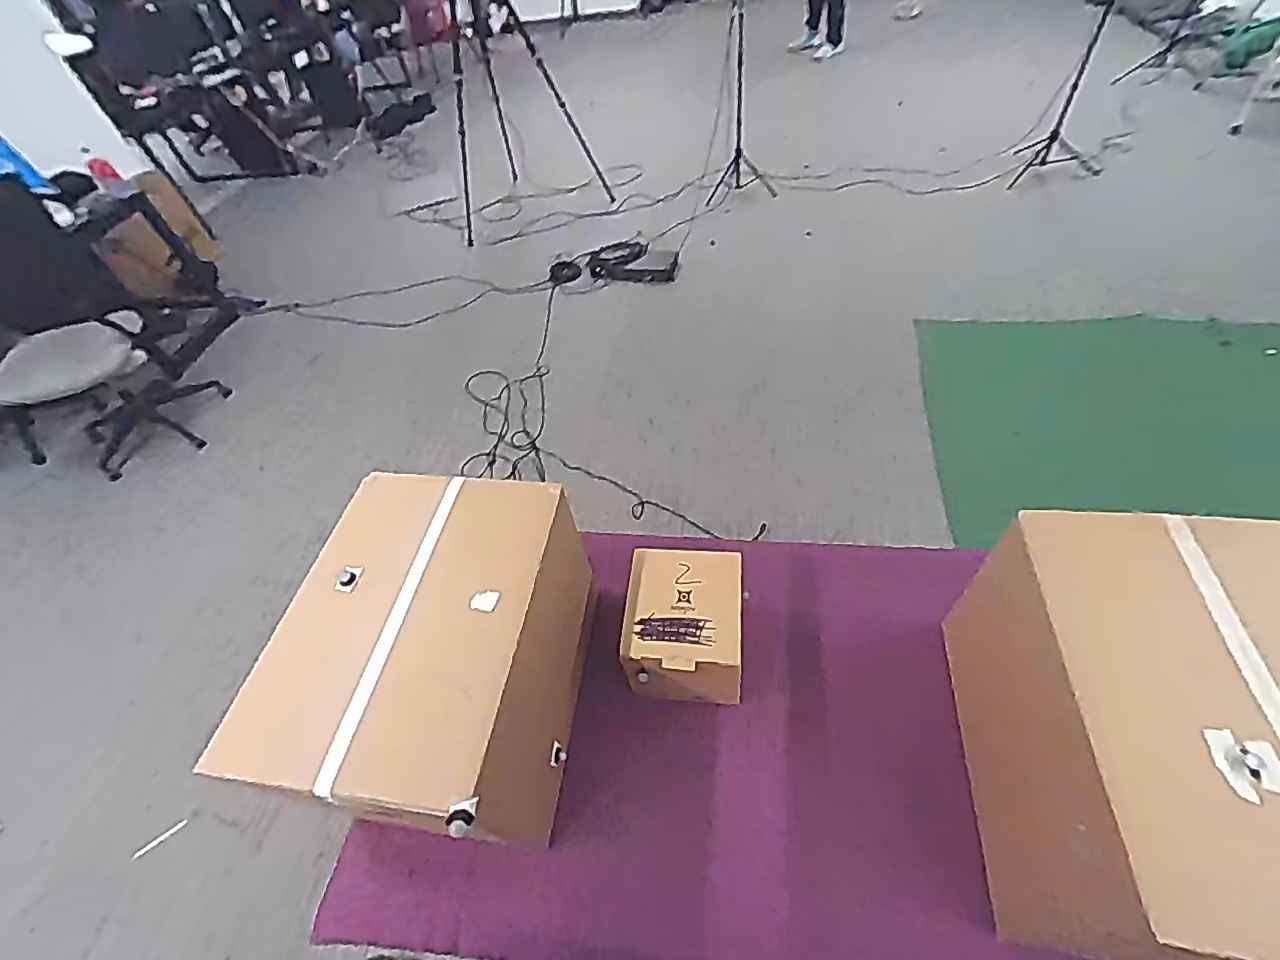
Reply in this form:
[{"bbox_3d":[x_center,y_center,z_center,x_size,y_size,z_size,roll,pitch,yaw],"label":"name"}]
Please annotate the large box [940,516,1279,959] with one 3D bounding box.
[{"bbox_3d":[0.586,0.294,0.612,0.320,0.320,0.408,2,51,11],"label":"large box"}]
